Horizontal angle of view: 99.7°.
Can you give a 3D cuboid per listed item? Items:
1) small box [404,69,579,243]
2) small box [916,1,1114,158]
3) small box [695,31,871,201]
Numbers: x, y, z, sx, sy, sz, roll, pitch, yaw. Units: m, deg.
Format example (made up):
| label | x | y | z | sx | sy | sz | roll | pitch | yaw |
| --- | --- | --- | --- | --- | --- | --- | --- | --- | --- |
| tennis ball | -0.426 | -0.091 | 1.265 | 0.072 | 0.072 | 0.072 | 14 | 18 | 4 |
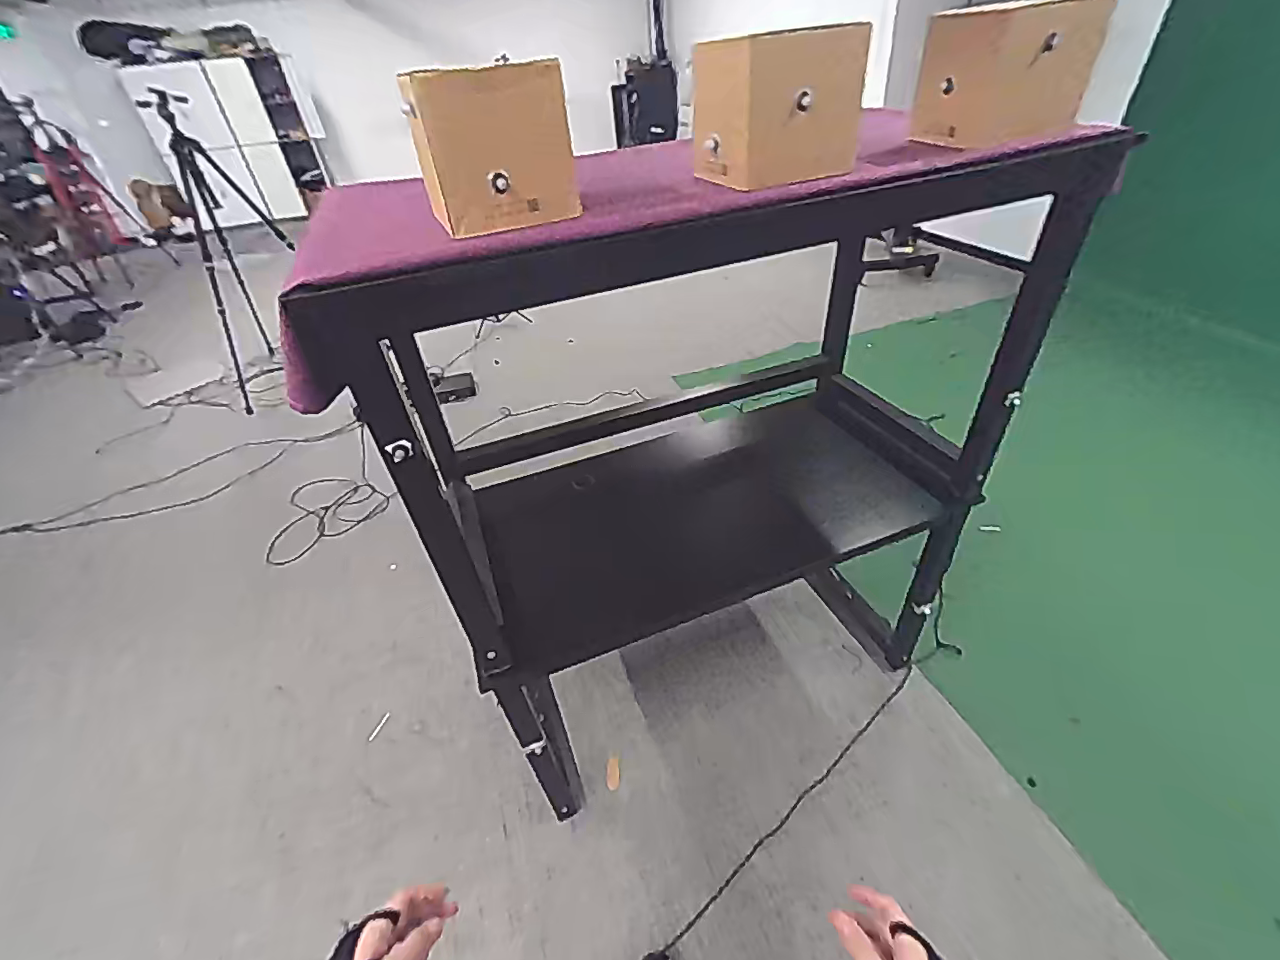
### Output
| label | x | y | z | sx | sy | sz | roll | pitch | yaw |
| --- | --- | --- | --- | --- | --- | --- | --- | --- | --- |
| small box | -0.189 | -0.417 | 0.698 | 0.168 | 0.176 | 0.179 | -19 | 40 | -17 |
| small box | 0.557 | -0.613 | 0.837 | 0.179 | 0.176 | 0.168 | -14 | 40 | -9 |
| small box | 0.188 | -0.510 | 0.761 | 0.179 | 0.176 | 0.168 | -17 | 38 | -12 |
